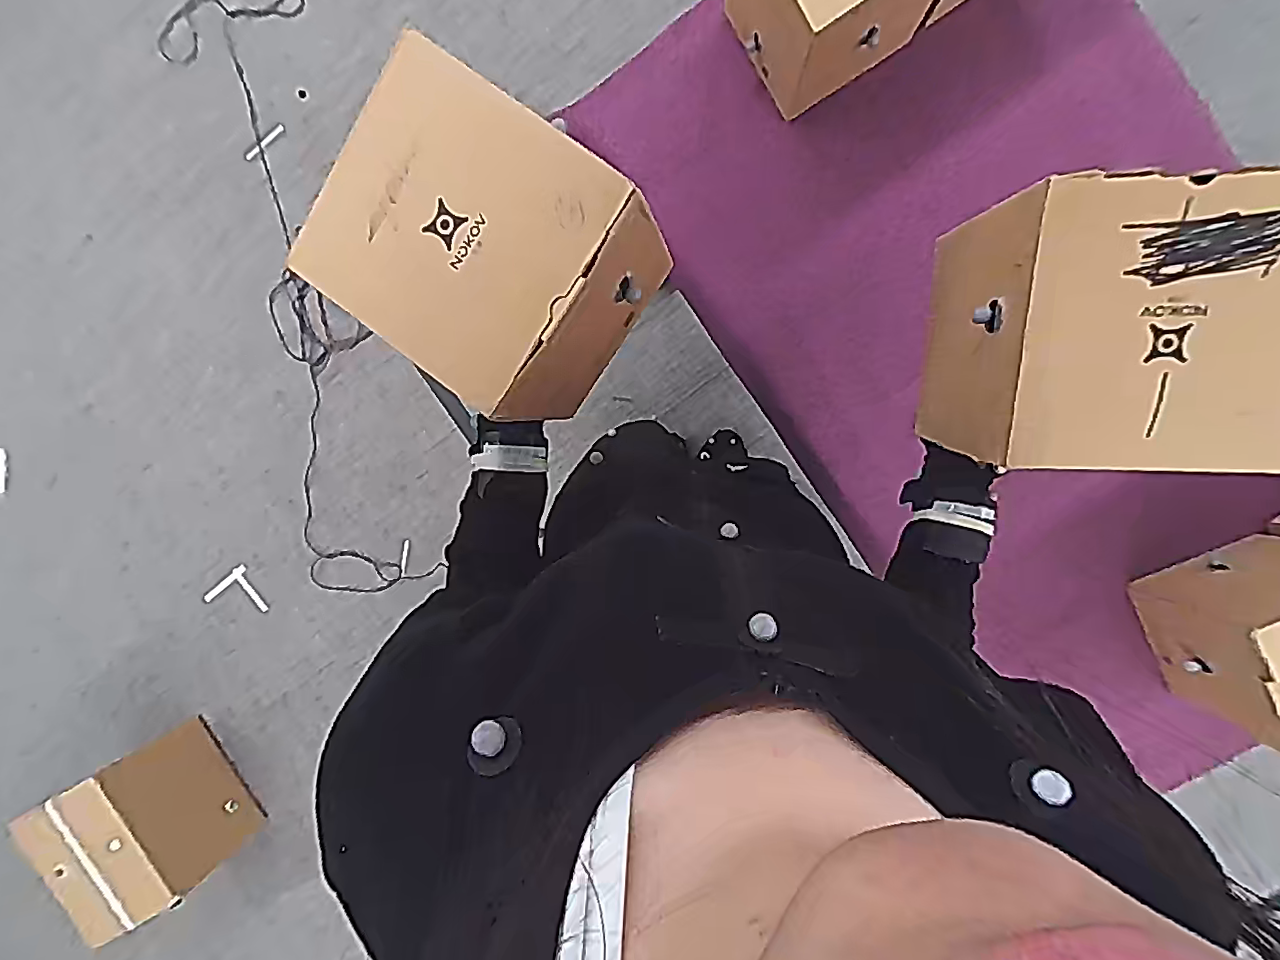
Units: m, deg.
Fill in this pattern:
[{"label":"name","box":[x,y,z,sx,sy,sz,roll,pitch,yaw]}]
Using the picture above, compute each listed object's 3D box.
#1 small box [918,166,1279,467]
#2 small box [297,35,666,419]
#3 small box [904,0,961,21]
[{"label":"small box","box":[0.330,-0.111,0.408,0.168,0.176,0.179,2,103,7]},{"label":"small box","box":[-0.097,-0.163,0.412,0.179,0.176,0.168,36,100,5]},{"label":"small box","box":[0.375,-0.667,0.578,0.179,0.176,0.168,-31,92,8]}]
